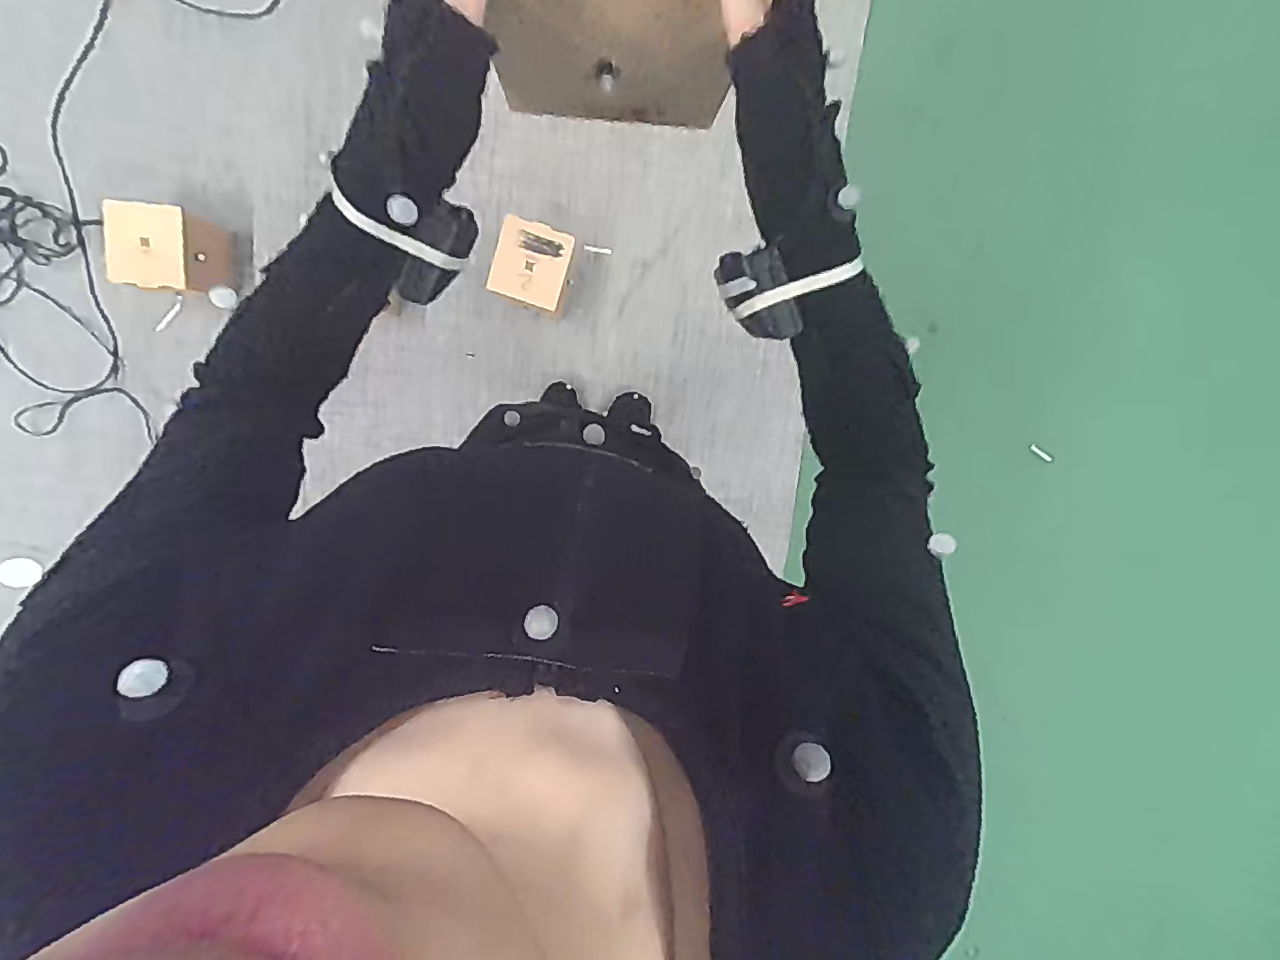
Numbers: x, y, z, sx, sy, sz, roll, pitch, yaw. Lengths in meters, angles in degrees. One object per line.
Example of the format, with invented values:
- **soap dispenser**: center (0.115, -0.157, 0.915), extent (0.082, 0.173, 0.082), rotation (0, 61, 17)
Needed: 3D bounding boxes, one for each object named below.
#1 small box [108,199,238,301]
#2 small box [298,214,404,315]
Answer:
- **small box**: center (-1.082, -0.530, 1.267), extent (0.168, 0.176, 0.179), rotation (4, 99, -3)
- **small box**: center (-0.681, -0.502, 1.289), extent (0.168, 0.176, 0.179), rotation (9, 98, -4)
